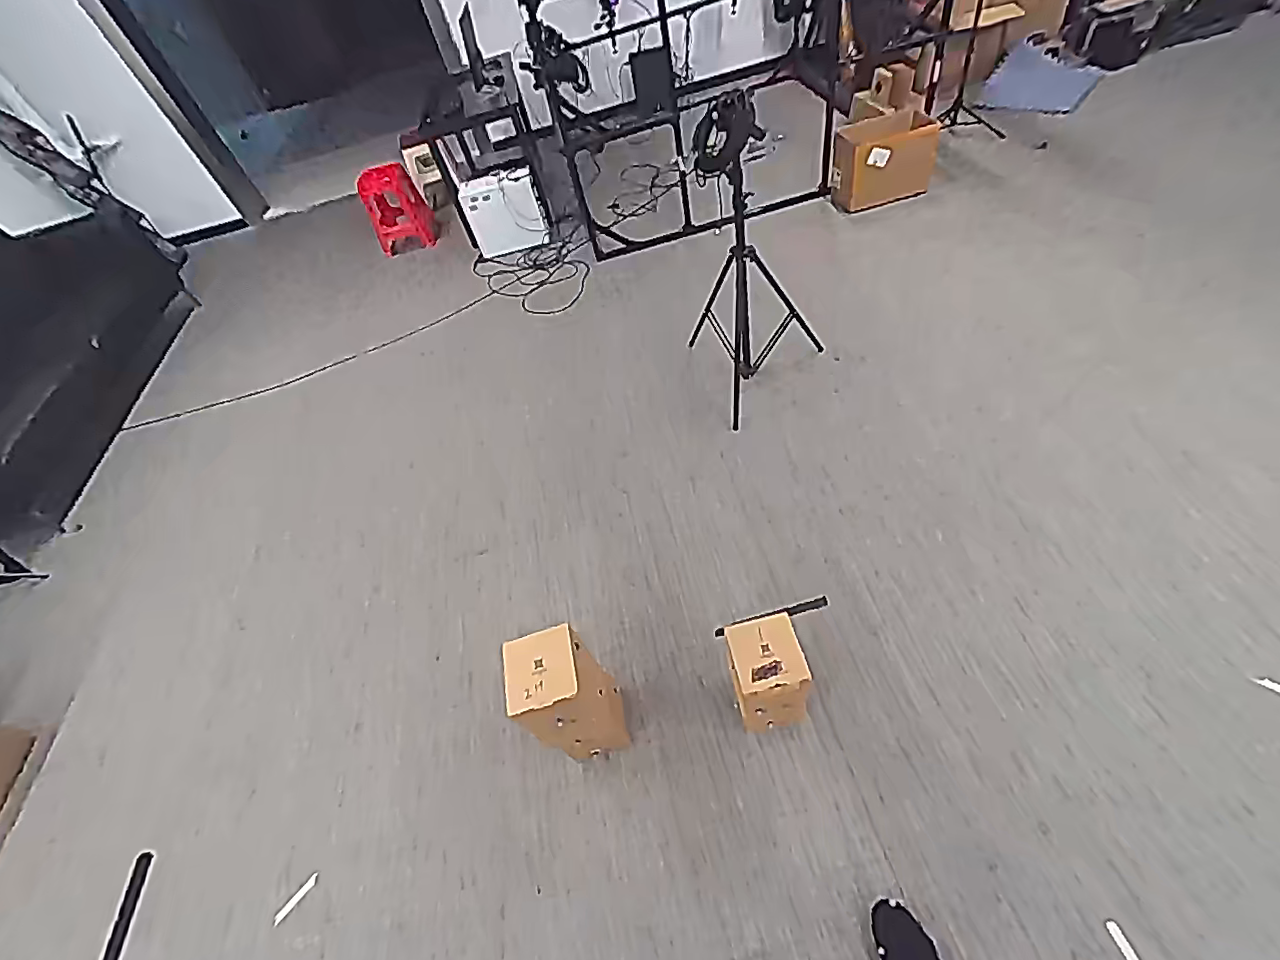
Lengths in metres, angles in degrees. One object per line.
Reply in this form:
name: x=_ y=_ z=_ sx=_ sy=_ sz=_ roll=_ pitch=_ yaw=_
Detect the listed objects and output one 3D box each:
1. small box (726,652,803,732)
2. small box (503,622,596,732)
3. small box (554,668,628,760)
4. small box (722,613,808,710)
small box: x=0.339 y=0.570 z=1.490 sx=0.168 sy=0.176 sz=0.179 roll=-14 pitch=50 yaw=3
small box: x=-0.213 y=0.468 z=1.282 sx=0.168 sy=0.176 sz=0.179 roll=-18 pitch=50 yaw=1
small box: x=-0.144 y=0.666 z=1.534 sx=0.168 sy=0.176 sz=0.179 roll=-18 pitch=49 yaw=1
small box: x=0.314 y=0.465 z=1.366 sx=0.168 sy=0.176 sz=0.179 roll=-14 pitch=49 yaw=2
